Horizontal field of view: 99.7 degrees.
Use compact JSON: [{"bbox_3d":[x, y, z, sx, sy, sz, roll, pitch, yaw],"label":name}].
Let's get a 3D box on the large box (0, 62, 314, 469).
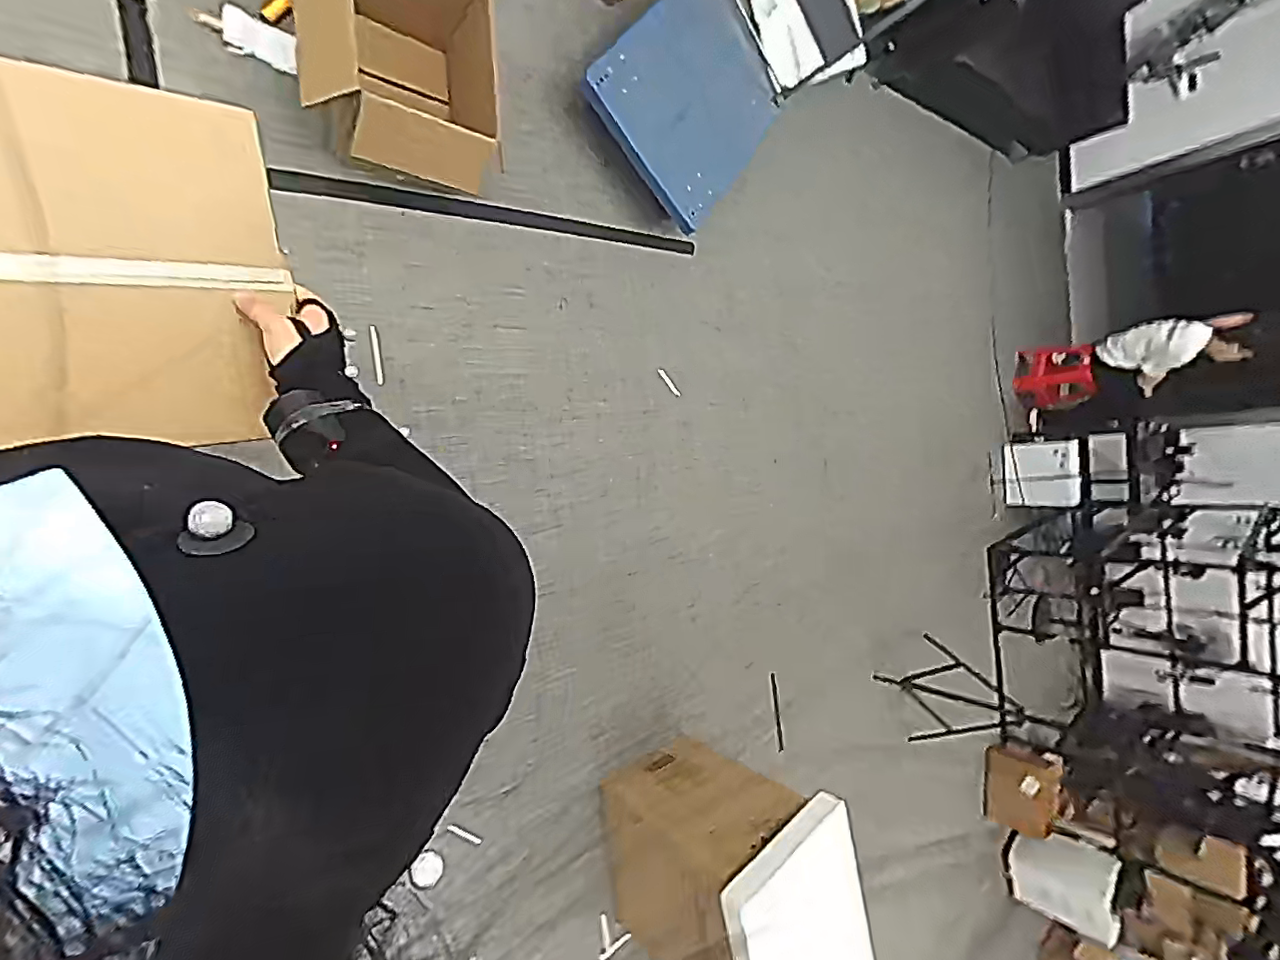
[{"bbox_3d":[-0.602,-0.187,0.539,0.408,0.320,0.320,-13,106,-38],"label":"large box"}]
